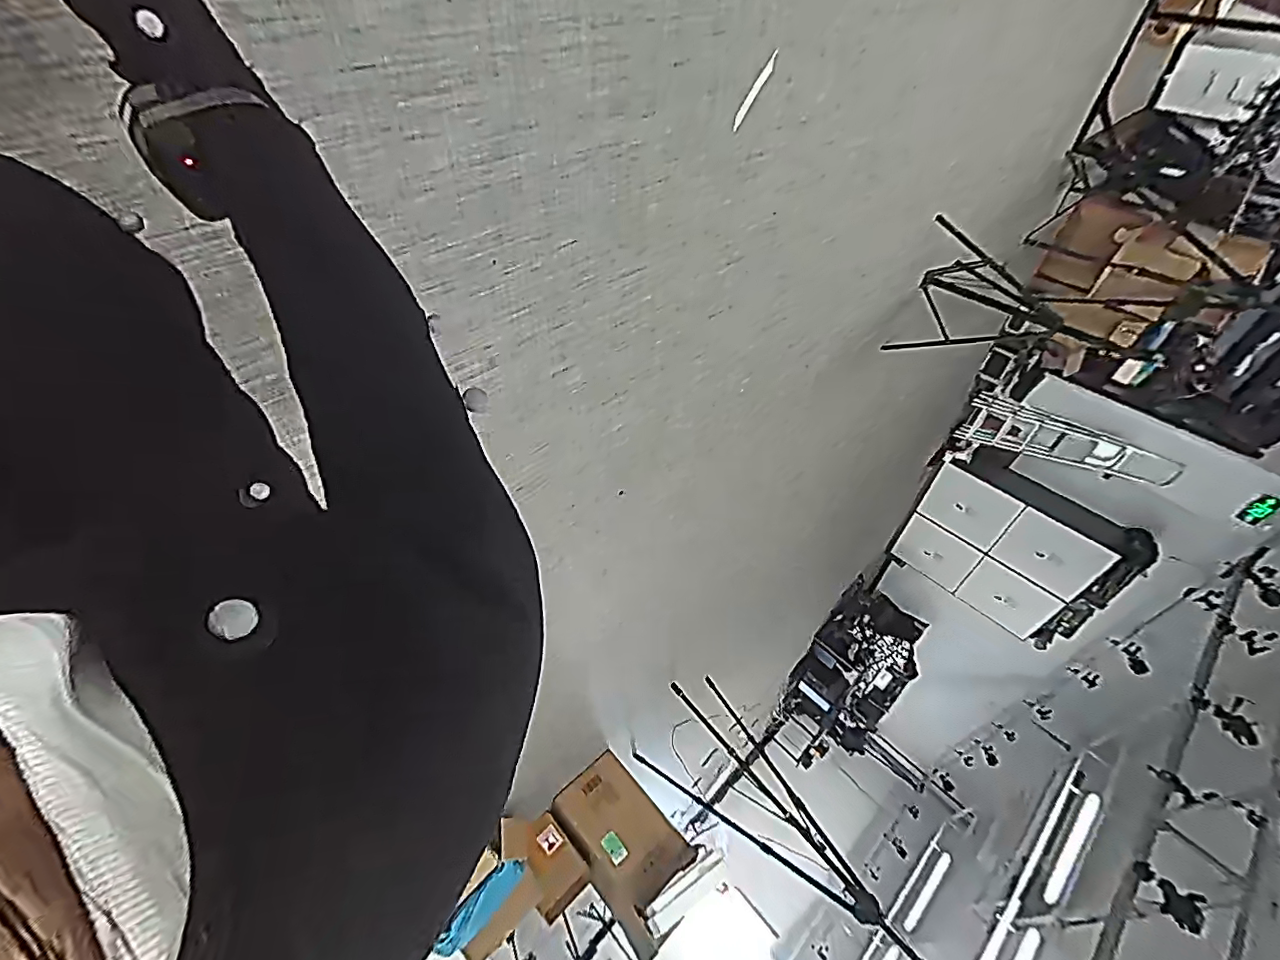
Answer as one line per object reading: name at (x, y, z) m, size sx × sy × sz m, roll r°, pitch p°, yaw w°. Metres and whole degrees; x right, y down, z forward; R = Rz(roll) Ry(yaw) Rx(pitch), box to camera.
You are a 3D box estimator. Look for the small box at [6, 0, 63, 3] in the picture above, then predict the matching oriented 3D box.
small box at (-0.482, -0.399, 0.307) m, size 0.168 × 0.176 × 0.179 m, roll -28°, pitch 138°, yaw -36°
